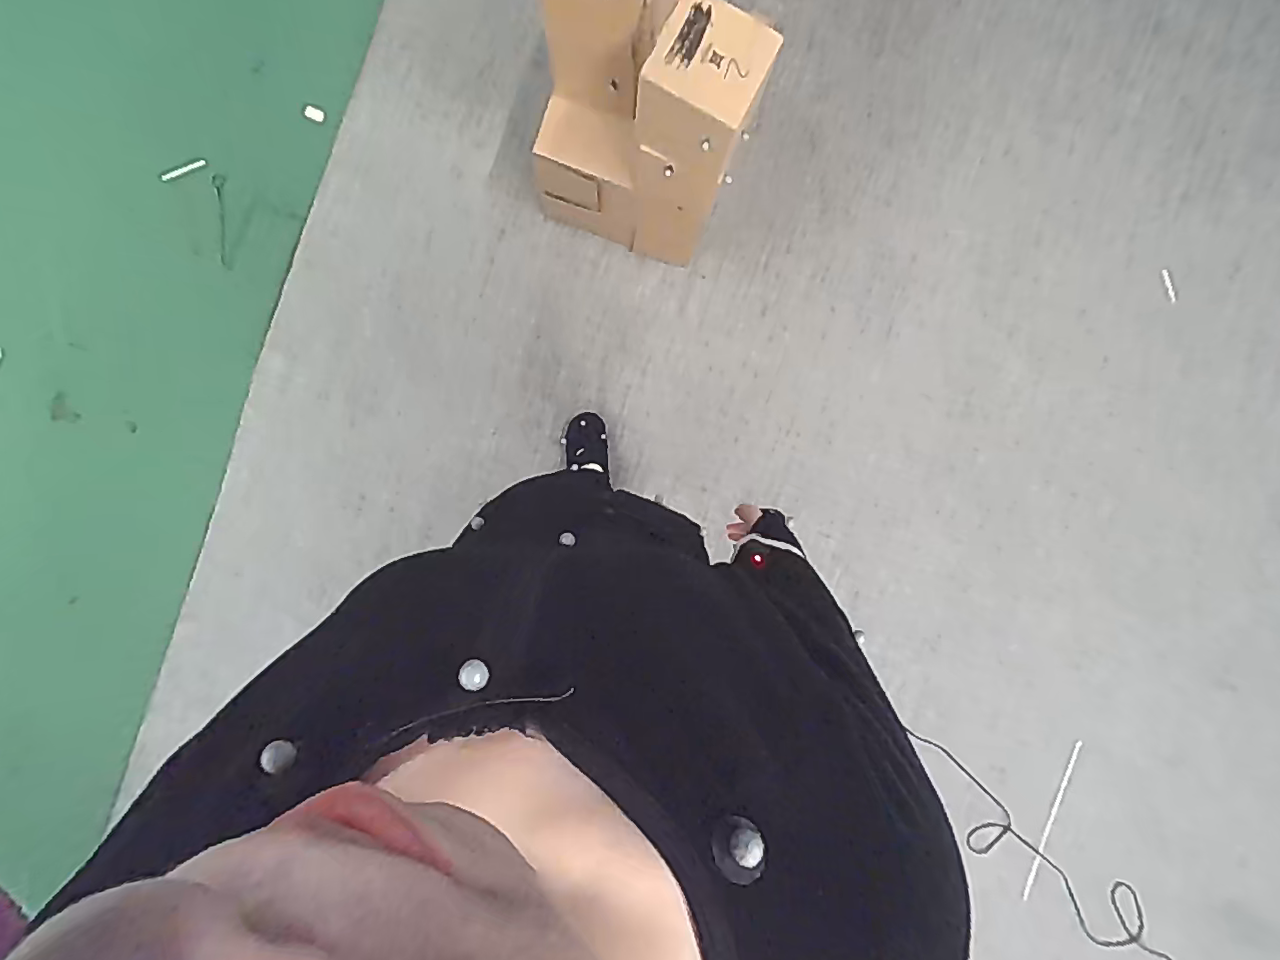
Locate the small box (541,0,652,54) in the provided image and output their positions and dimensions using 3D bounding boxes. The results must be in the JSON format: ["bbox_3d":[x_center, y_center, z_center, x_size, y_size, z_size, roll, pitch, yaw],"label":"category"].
[{"bbox_3d":[-0.069,-0.879,0.915,0.179,0.176,0.168,18,88,-3],"label":"small box"}]

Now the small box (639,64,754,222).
[{"bbox_3d":[0.103,-0.662,1.084,0.168,0.176,0.179,23,89,-3],"label":"small box"}]

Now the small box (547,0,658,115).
[{"bbox_3d":[-0.069,-0.875,1.078,0.179,0.176,0.168,17,89,-2],"label":"small box"}]
